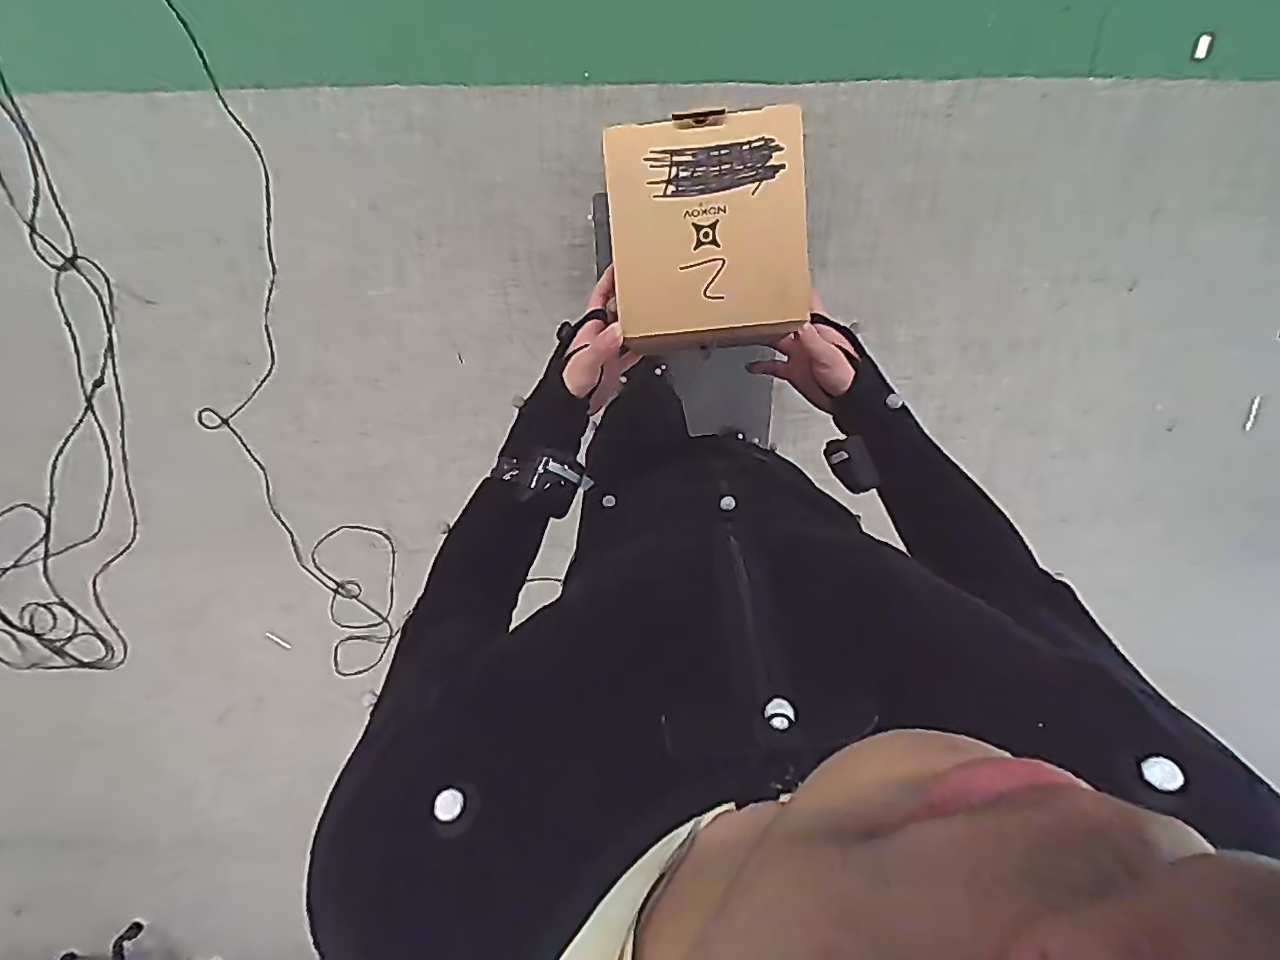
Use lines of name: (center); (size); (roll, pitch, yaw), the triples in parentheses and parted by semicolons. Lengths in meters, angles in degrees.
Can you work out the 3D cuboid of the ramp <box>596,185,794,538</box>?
ramp: (0.150, -0.267, 1.537); (0.509, 0.206, 0.991); (-3, 106, 1)
